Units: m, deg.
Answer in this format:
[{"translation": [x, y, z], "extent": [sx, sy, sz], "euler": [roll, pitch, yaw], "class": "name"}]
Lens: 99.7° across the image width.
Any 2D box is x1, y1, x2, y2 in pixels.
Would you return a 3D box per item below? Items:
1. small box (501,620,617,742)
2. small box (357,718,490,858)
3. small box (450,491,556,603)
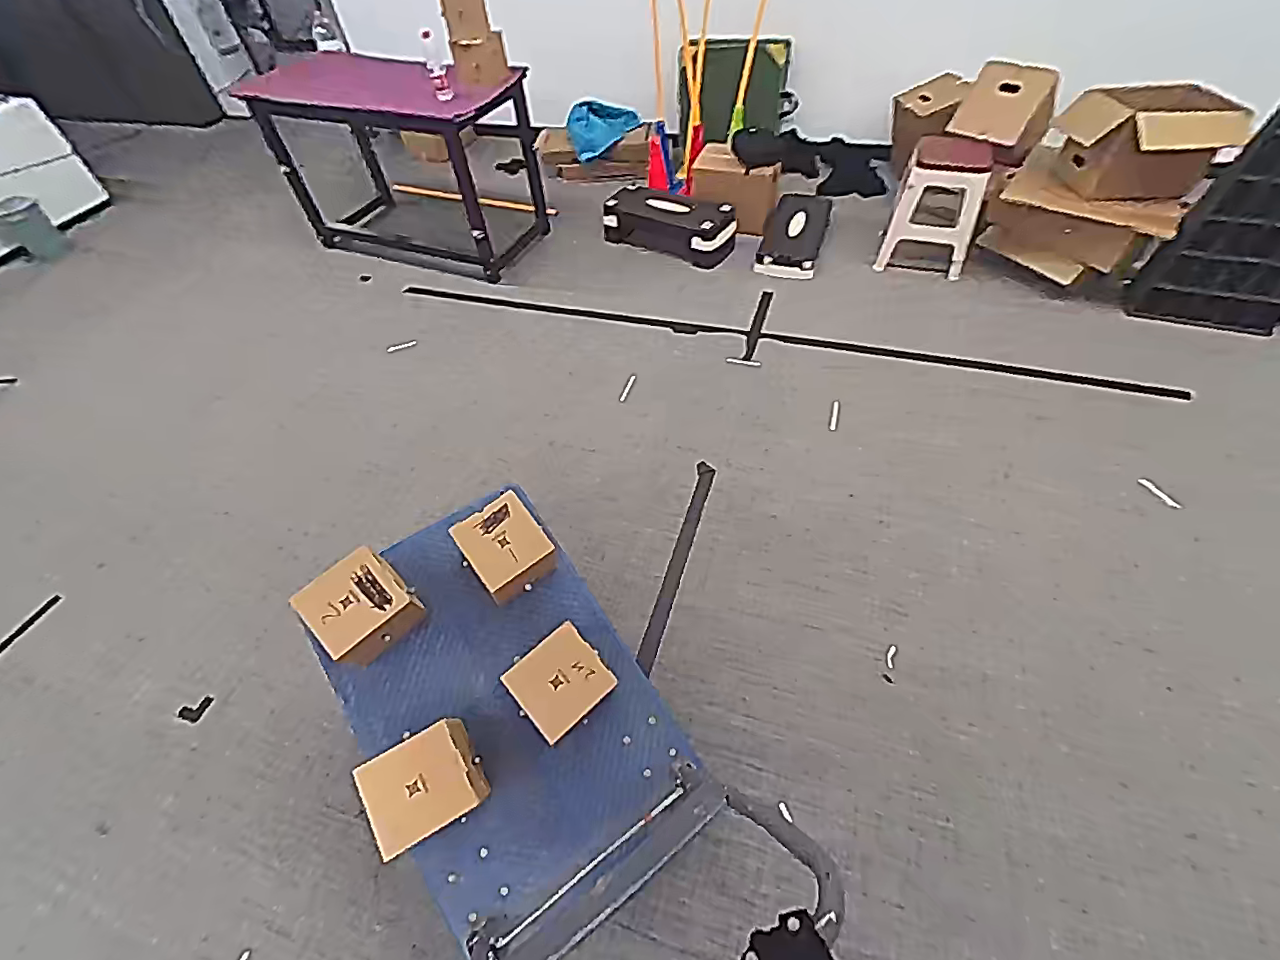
[{"translation": [-0.168, 0.430, 1.154], "extent": [0.179, 0.176, 0.168], "euler": [-38, 76, -20], "class": "small box"}, {"translation": [-0.412, 0.590, 1.055], "extent": [0.179, 0.176, 0.168], "euler": [-26, 72, -19], "class": "small box"}, {"translation": [-0.312, 0.161, 1.255], "extent": [0.168, 0.176, 0.179], "euler": [-36, 76, -19], "class": "small box"}]
